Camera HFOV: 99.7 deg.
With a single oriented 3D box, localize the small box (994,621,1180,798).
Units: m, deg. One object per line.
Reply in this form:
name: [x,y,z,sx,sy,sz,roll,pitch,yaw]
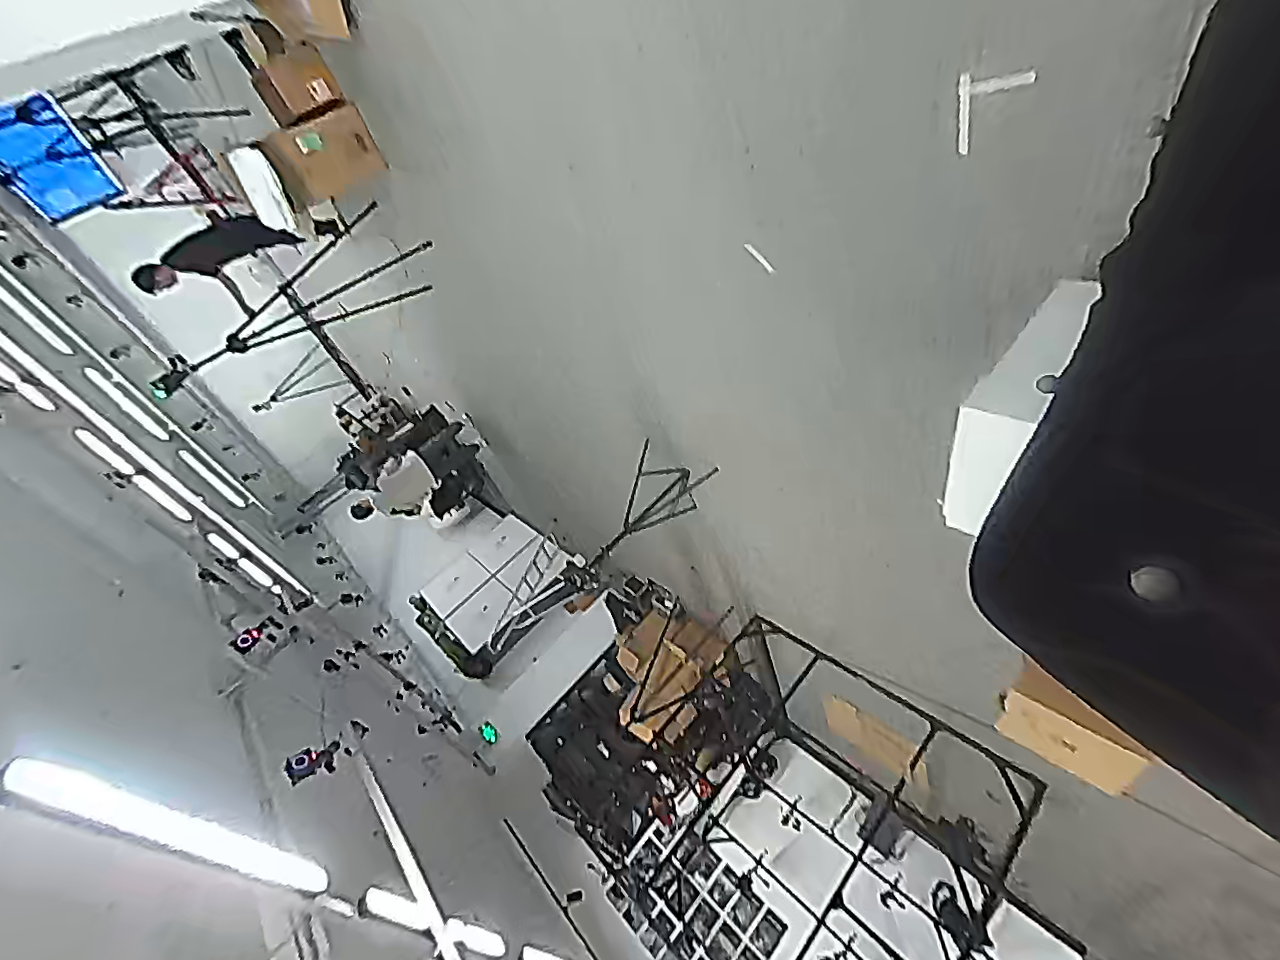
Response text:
small box: [0.719,0.363,0.878,0.179,0.176,0.168,27,150,40]
